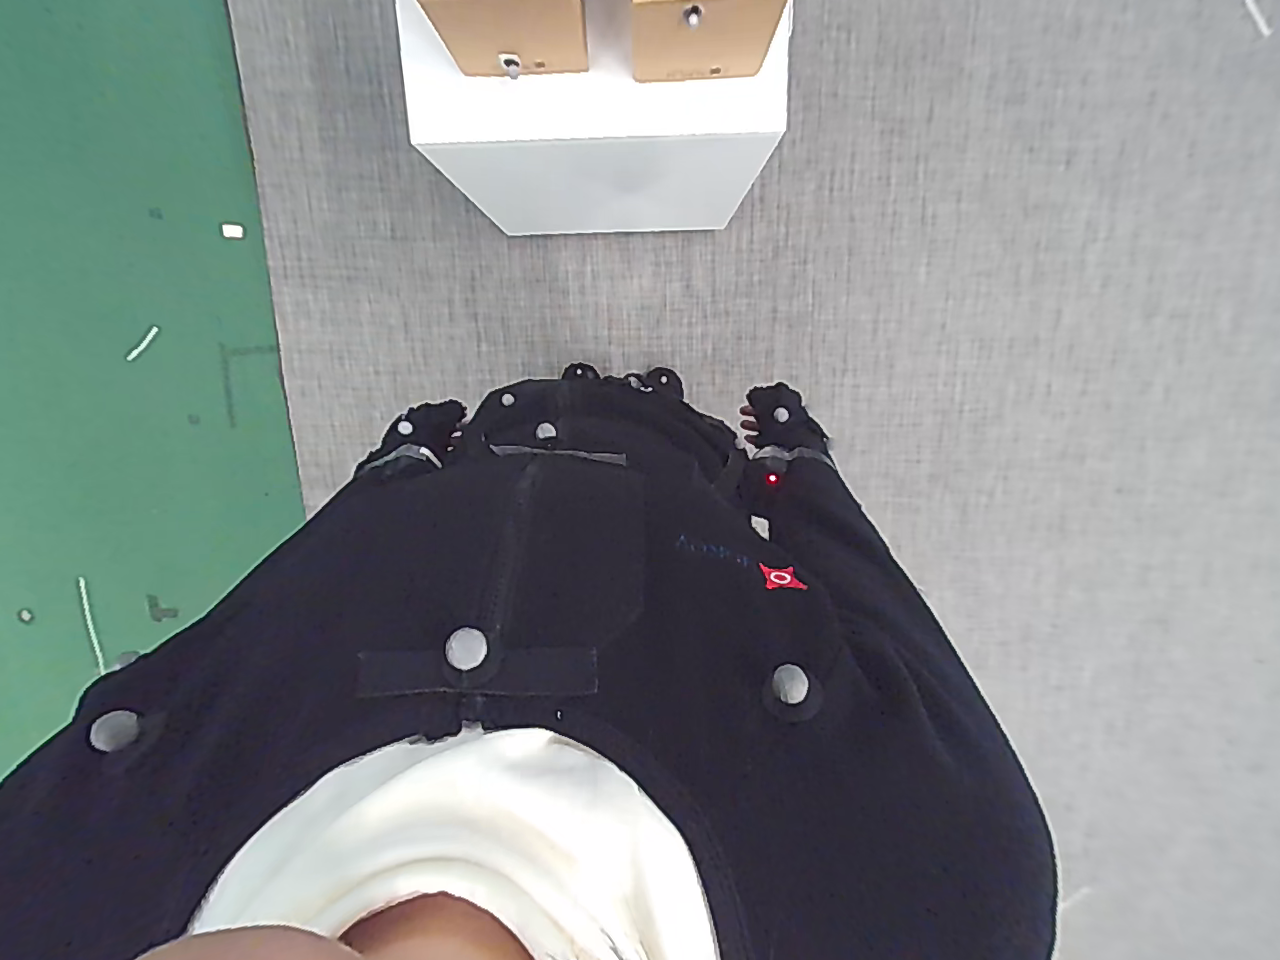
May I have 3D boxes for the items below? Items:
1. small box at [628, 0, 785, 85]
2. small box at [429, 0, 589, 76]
[{"bbox_3d":[0.069,-0.596,0.621,0.168,0.176,0.179,-2,101,1],"label":"small box"},{"bbox_3d":[-0.151,-0.598,0.608,0.168,0.176,0.179,-4,103,2],"label":"small box"}]
